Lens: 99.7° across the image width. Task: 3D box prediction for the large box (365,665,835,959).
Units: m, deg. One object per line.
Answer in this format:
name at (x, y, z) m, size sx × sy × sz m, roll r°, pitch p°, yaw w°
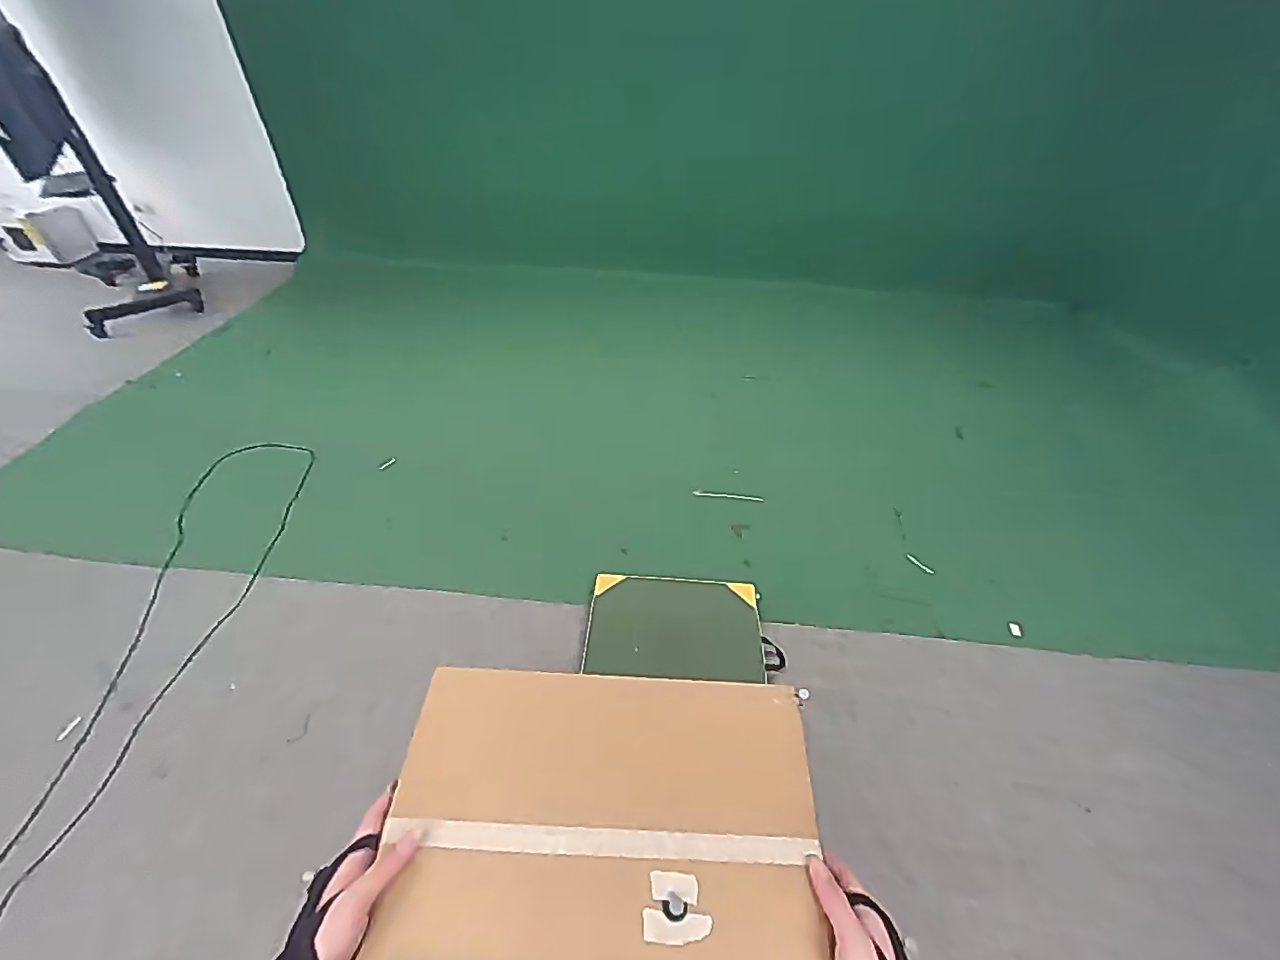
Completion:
large box at (-0.036, 0.433, 0.628) m, size 0.408 × 0.320 × 0.320 m, roll 3°, pitch 49°, yaw 0°
